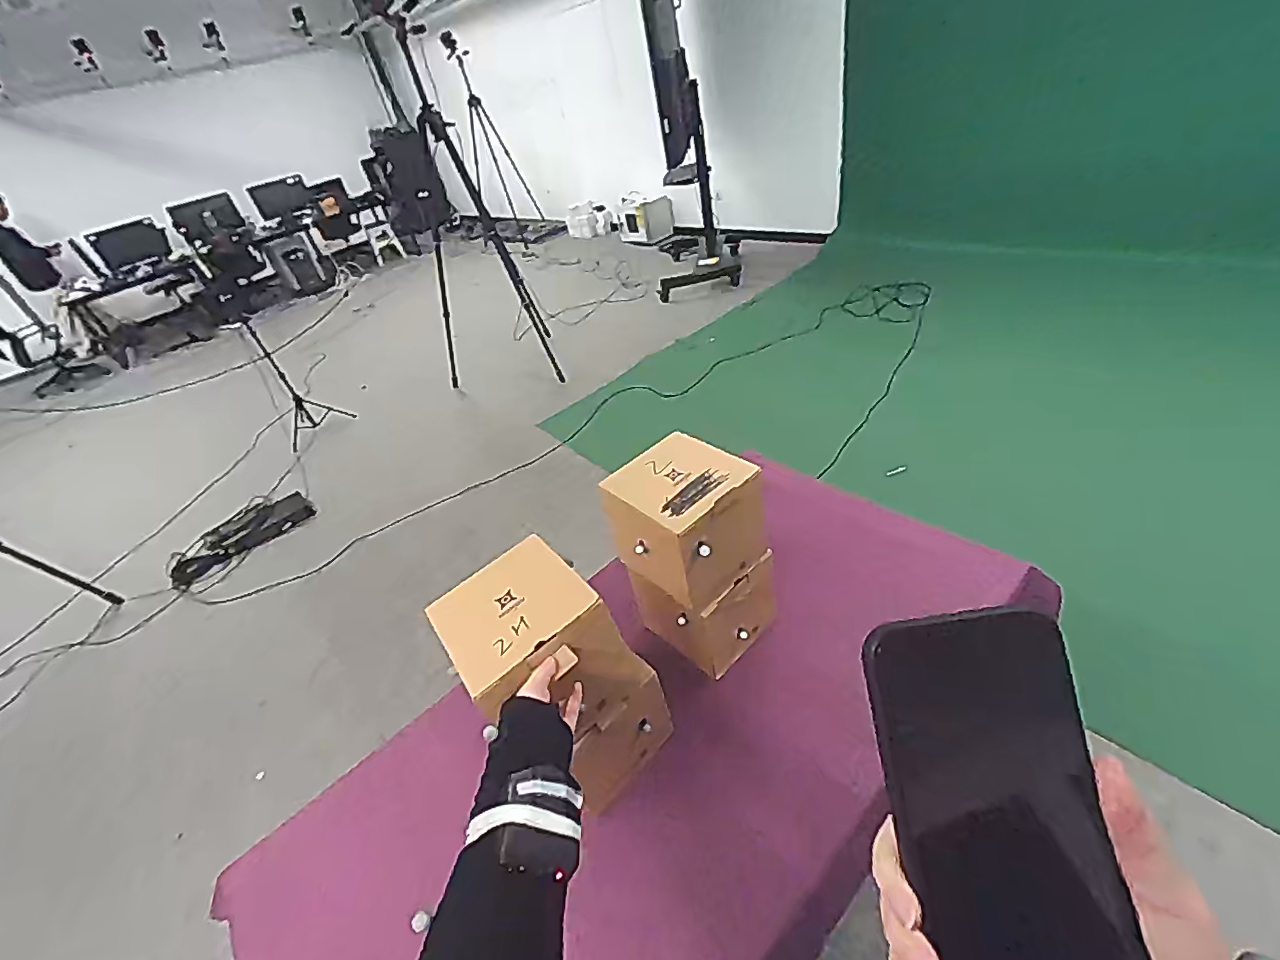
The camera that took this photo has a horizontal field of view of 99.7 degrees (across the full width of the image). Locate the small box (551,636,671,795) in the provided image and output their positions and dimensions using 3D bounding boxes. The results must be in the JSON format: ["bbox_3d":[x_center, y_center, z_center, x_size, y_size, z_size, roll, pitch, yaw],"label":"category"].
[{"bbox_3d":[-0.075,0.323,0.793,0.168,0.176,0.179,-37,42,-26],"label":"small box"}]

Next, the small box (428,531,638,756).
[{"bbox_3d":[-0.130,0.202,0.678,0.168,0.176,0.179,-37,39,-18],"label":"small box"}]

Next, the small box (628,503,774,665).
[{"bbox_3d":[0.108,0.175,0.914,0.168,0.176,0.179,-38,44,-26],"label":"small box"}]
